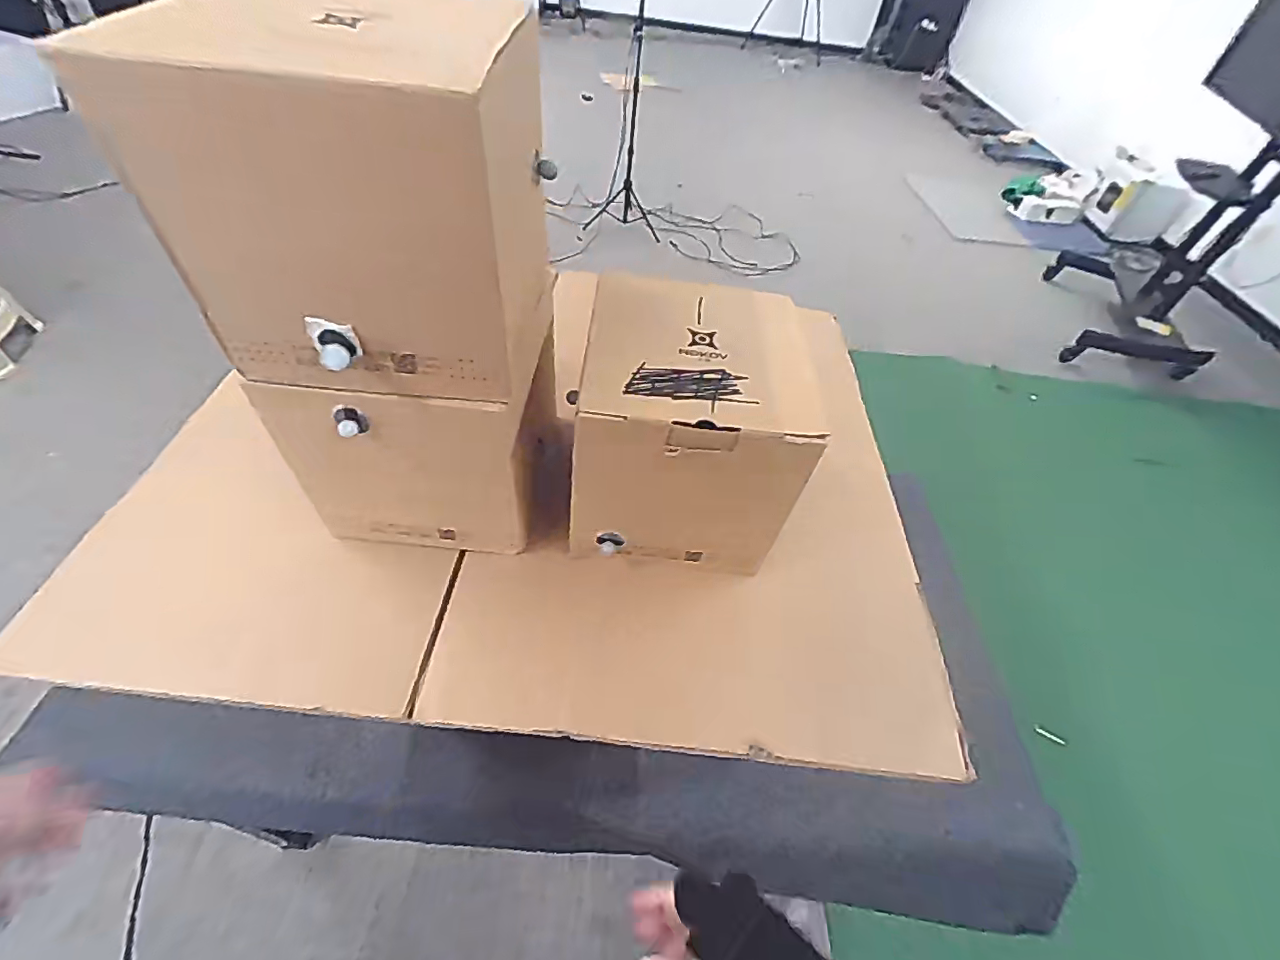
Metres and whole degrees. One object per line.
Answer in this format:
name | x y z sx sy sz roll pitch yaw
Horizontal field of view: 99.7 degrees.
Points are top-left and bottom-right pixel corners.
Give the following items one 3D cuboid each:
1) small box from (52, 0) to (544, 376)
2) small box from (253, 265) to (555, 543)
small box | -0.150 -0.187 0.323 0.168 0.176 0.179 3 51 -4
small box | -0.167 -0.072 0.458 0.168 0.176 0.179 6 49 0
